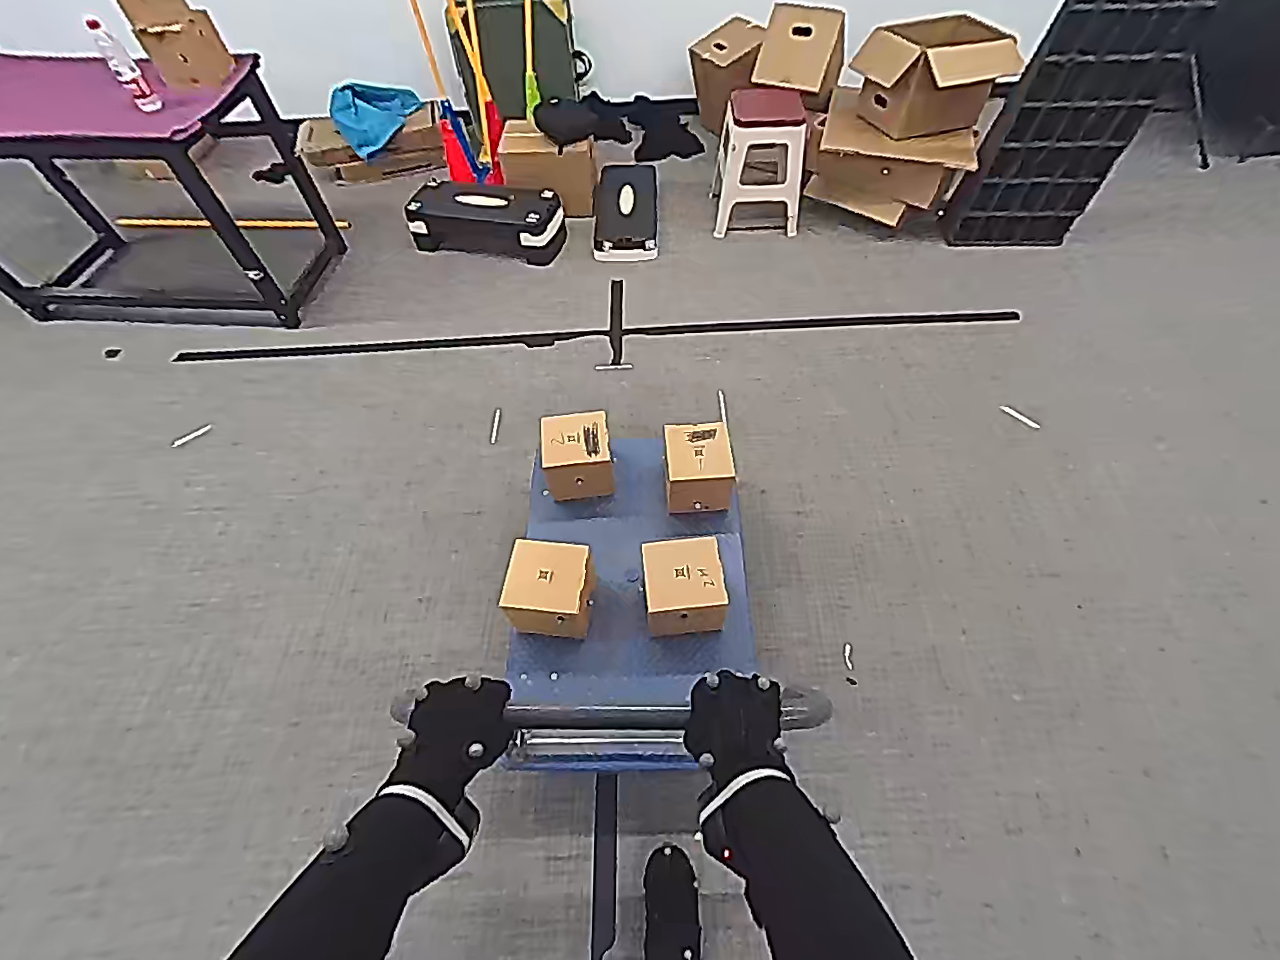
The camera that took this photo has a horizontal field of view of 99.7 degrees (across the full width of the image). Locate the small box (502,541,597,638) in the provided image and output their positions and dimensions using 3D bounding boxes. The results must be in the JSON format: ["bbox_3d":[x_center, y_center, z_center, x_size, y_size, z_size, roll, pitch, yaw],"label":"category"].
[{"bbox_3d":[-0.204,0.261,1.272,0.179,0.176,0.168,5,56,4],"label":"small box"}]

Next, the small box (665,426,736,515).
[{"bbox_3d":[0.156,-0.024,1.446,0.168,0.176,0.179,-3,57,0],"label":"small box"}]

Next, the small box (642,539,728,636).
[{"bbox_3d":[0.102,0.256,1.264,0.179,0.176,0.168,-5,57,-1],"label":"small box"}]
